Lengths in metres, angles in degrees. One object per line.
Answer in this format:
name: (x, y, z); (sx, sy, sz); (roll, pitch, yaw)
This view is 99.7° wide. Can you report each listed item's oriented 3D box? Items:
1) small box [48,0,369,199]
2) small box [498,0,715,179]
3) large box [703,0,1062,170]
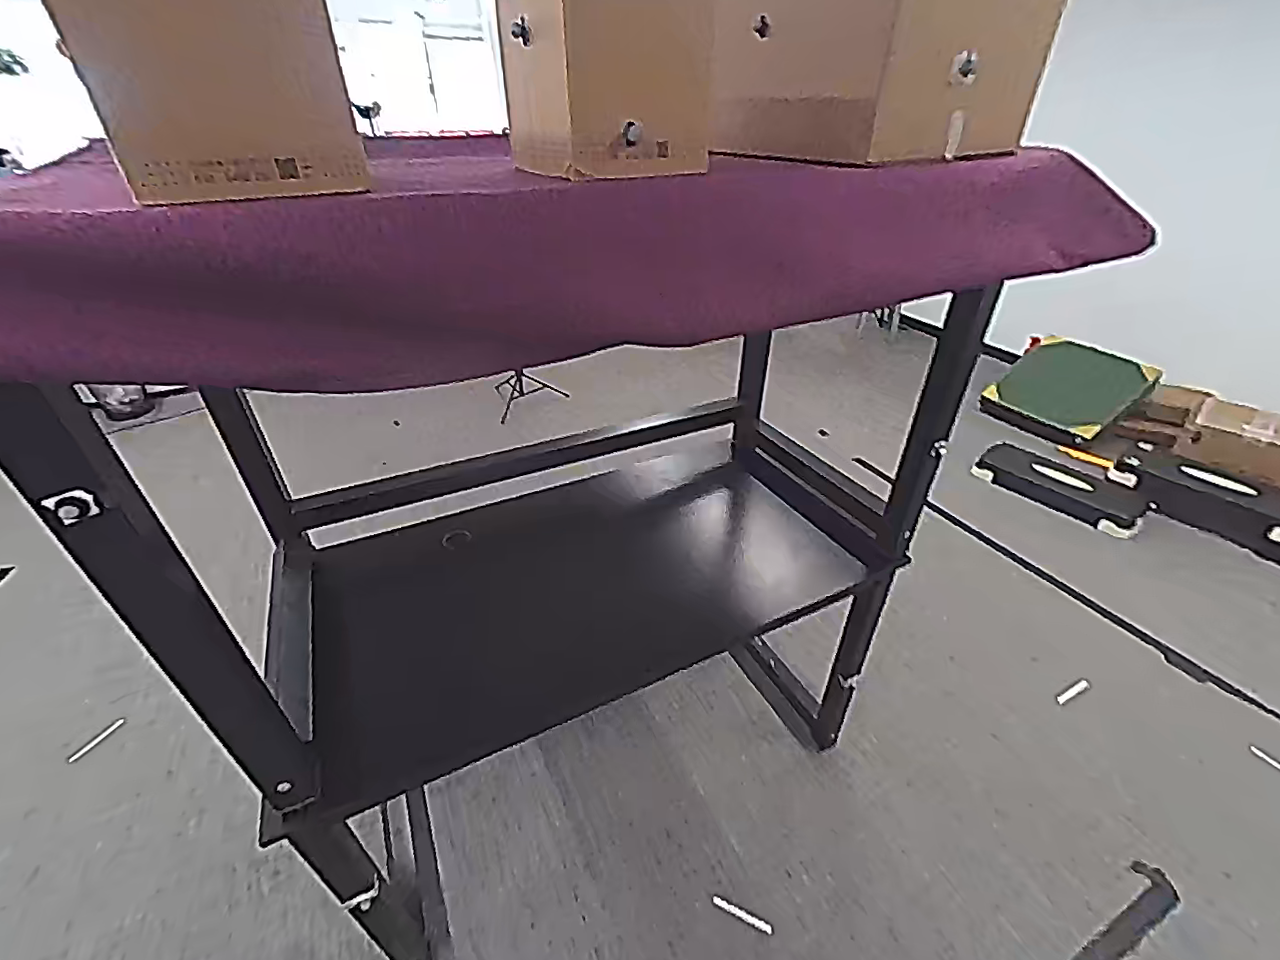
small box: (-0.346, -0.333, 0.443); (0.168, 0.176, 0.179); (-22, 39, -28)
small box: (-0.040, -0.425, 0.578); (0.168, 0.176, 0.179); (-19, 39, -24)
large box: (0.284, -0.618, 0.738); (0.320, 0.320, 0.408); (-19, 37, -24)
